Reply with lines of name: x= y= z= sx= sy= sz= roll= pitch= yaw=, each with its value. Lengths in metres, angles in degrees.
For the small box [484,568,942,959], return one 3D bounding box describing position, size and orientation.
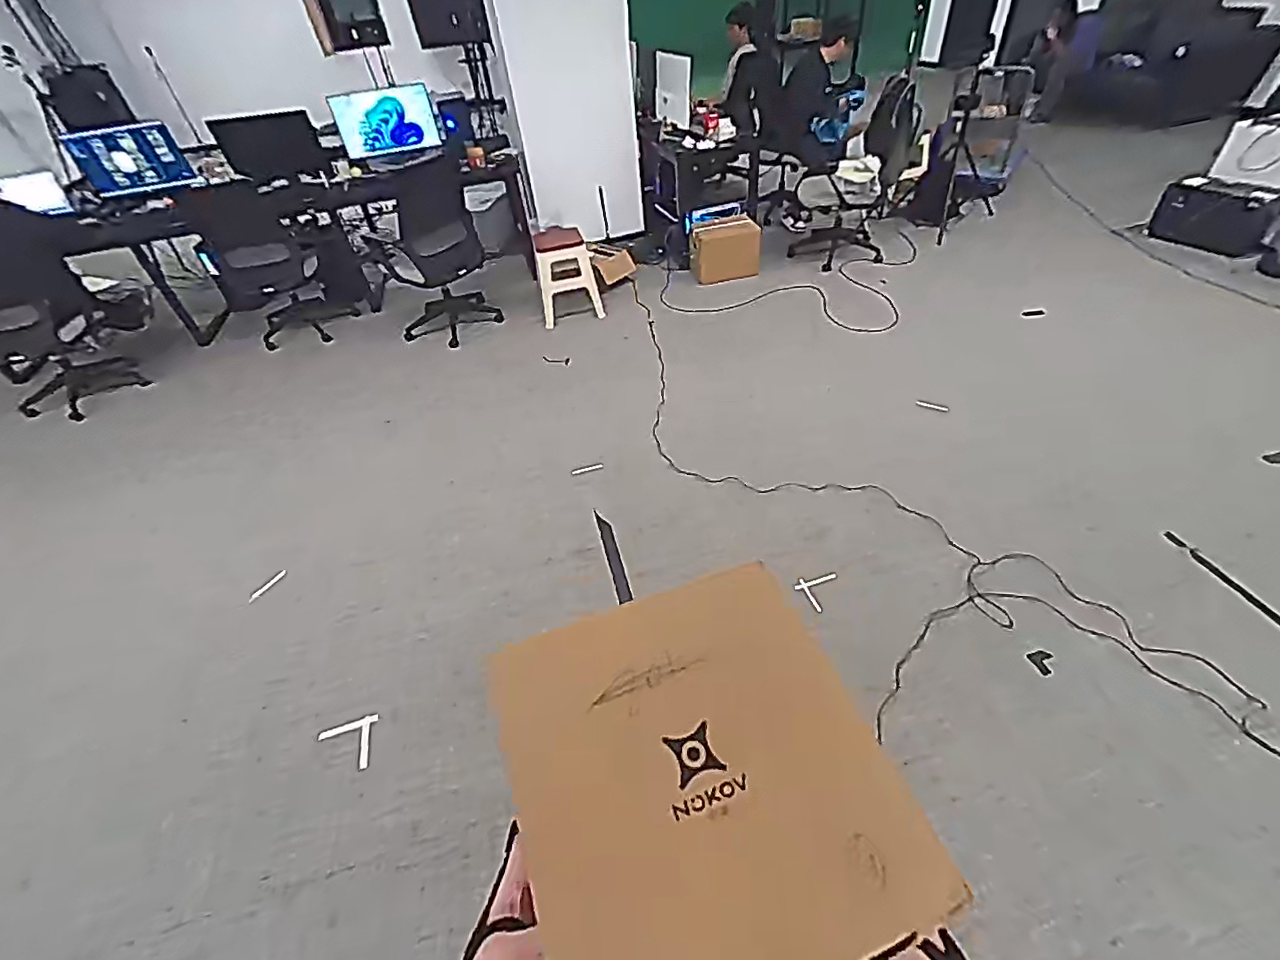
small box: x=0.022 y=0.188 z=0.318 sx=0.168 sy=0.176 sz=0.179 roll=-17 pitch=50 yaw=-16
